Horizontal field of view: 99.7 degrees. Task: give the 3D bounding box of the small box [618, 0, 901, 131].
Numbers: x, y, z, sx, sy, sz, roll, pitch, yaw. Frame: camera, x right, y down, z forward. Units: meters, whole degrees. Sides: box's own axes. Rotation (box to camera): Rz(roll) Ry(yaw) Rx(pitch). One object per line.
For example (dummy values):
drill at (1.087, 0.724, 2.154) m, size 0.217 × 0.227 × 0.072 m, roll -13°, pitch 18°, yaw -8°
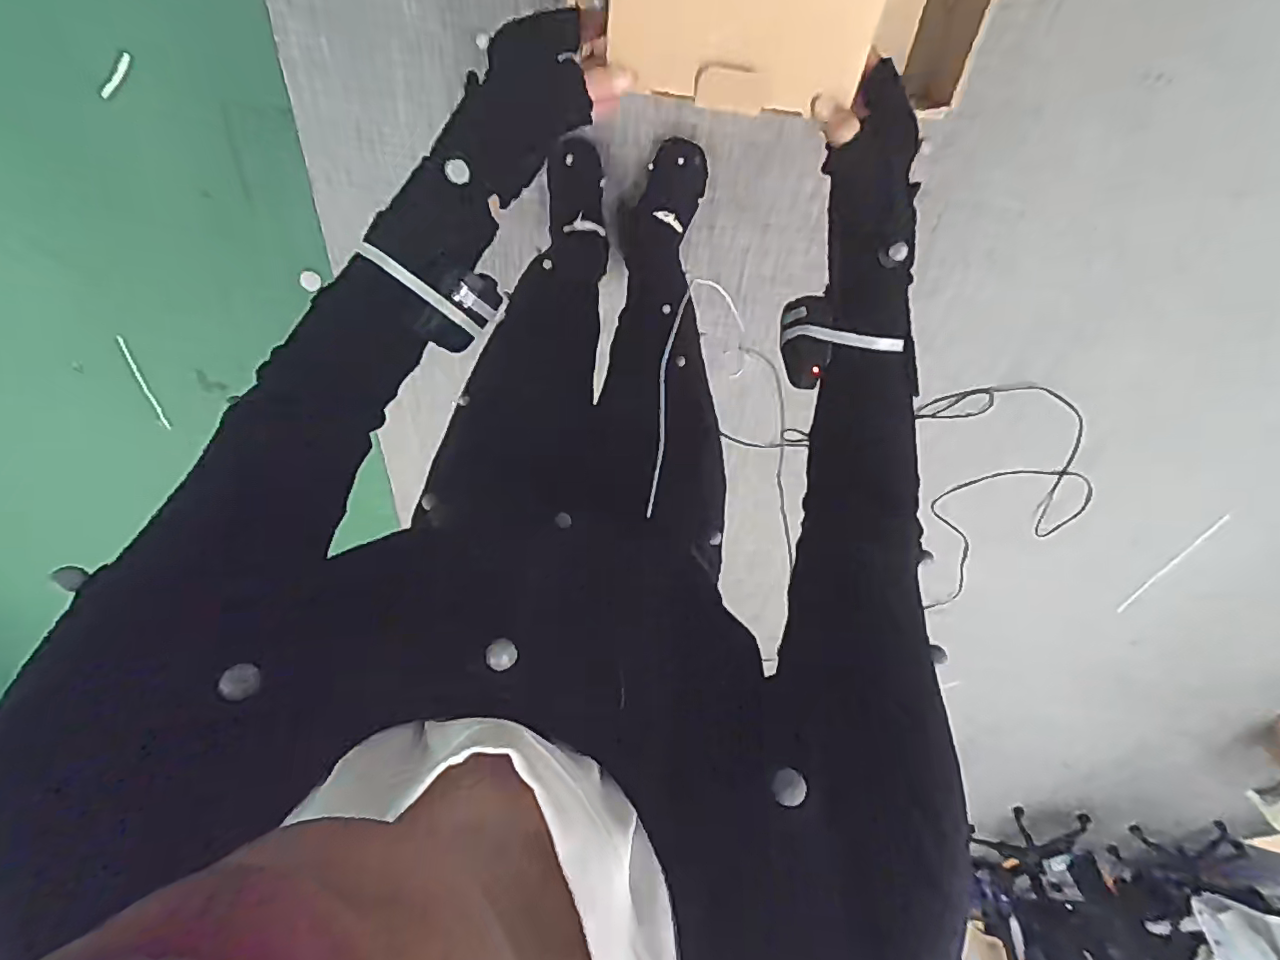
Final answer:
small box at (0.078, -0.365, 0.353) m, size 0.168 × 0.176 × 0.179 m, roll 6°, pitch 139°, yaw -4°
